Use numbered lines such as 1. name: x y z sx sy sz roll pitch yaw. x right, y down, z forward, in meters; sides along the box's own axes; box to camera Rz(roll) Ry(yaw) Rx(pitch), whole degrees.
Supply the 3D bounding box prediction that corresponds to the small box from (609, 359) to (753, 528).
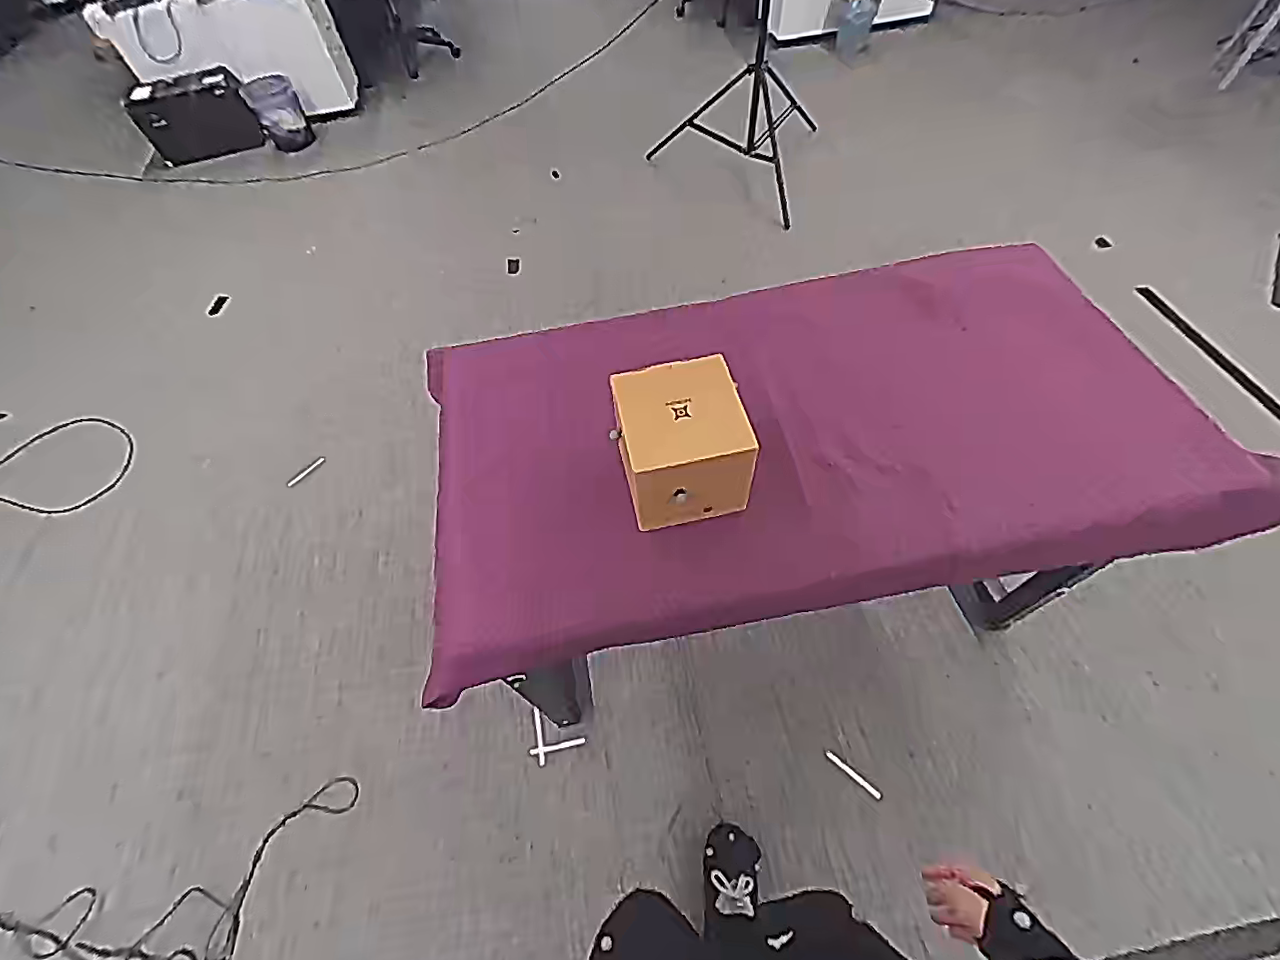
1. small box: 0.057 -0.044 0.796 0.168 0.176 0.179 -12 57 -3
